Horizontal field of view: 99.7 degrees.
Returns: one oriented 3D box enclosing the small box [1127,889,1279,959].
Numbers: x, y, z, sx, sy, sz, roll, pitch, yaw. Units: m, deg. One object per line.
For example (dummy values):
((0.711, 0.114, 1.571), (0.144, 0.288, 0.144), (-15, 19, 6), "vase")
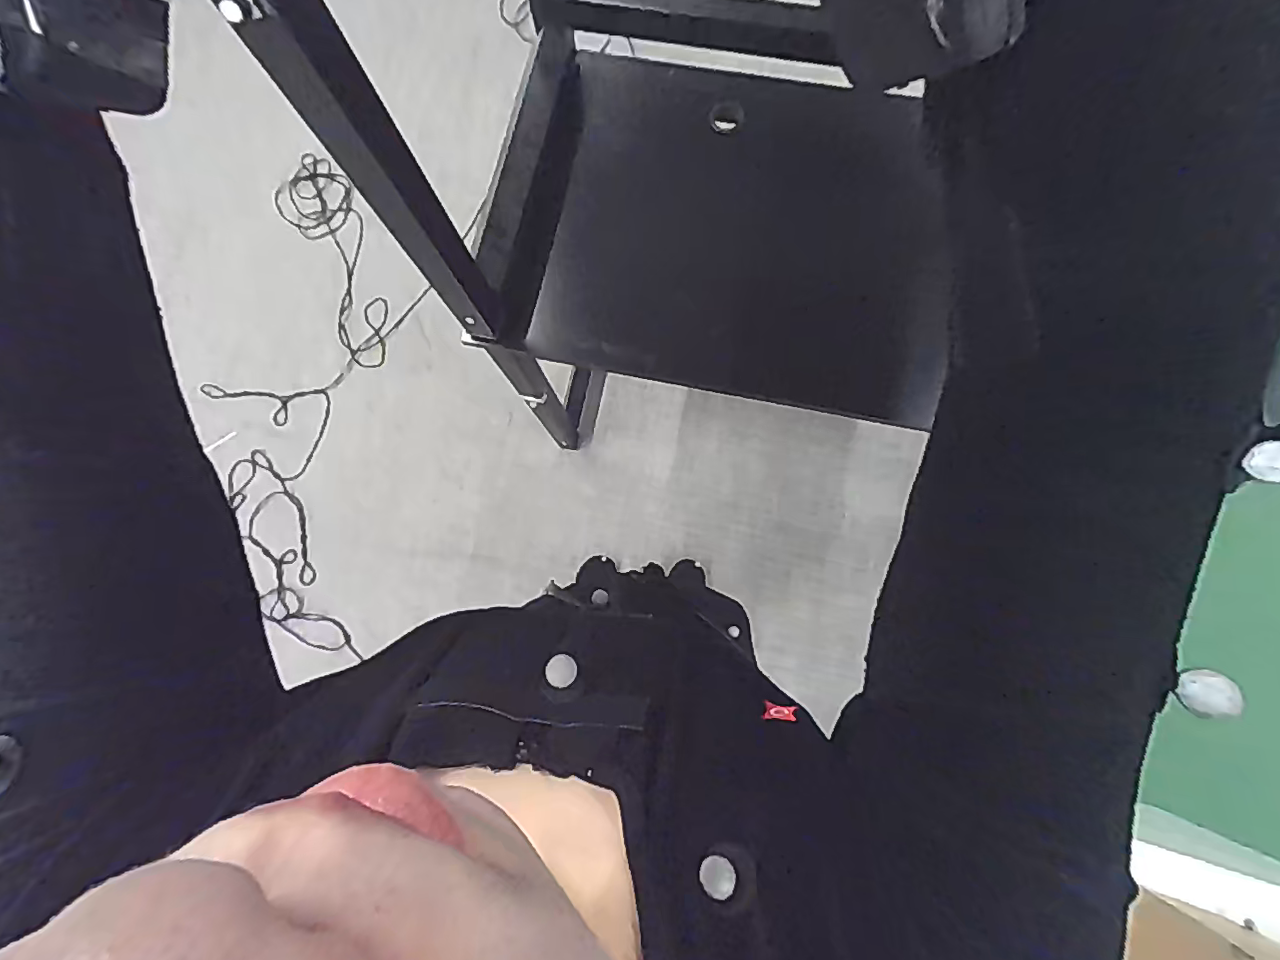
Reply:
((0.786, 0.688, 0.702), (0.168, 0.176, 0.179), (19, 81, 6), "small box")
